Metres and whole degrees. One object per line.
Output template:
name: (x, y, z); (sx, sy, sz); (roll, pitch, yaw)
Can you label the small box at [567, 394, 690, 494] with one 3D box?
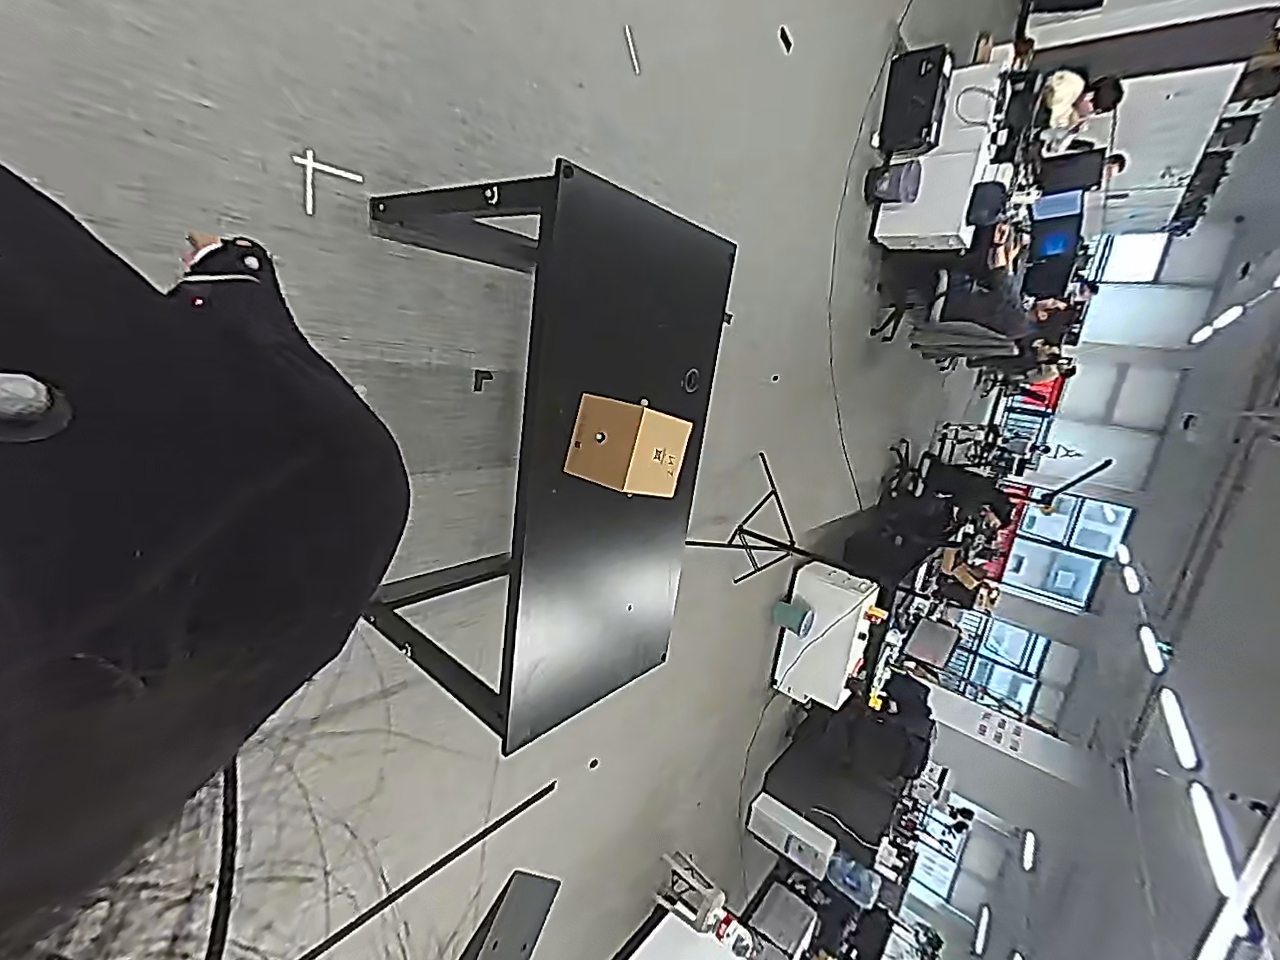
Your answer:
small box: (-0.026, -0.075, 1.125); (0.179, 0.176, 0.168); (8, 98, -54)
